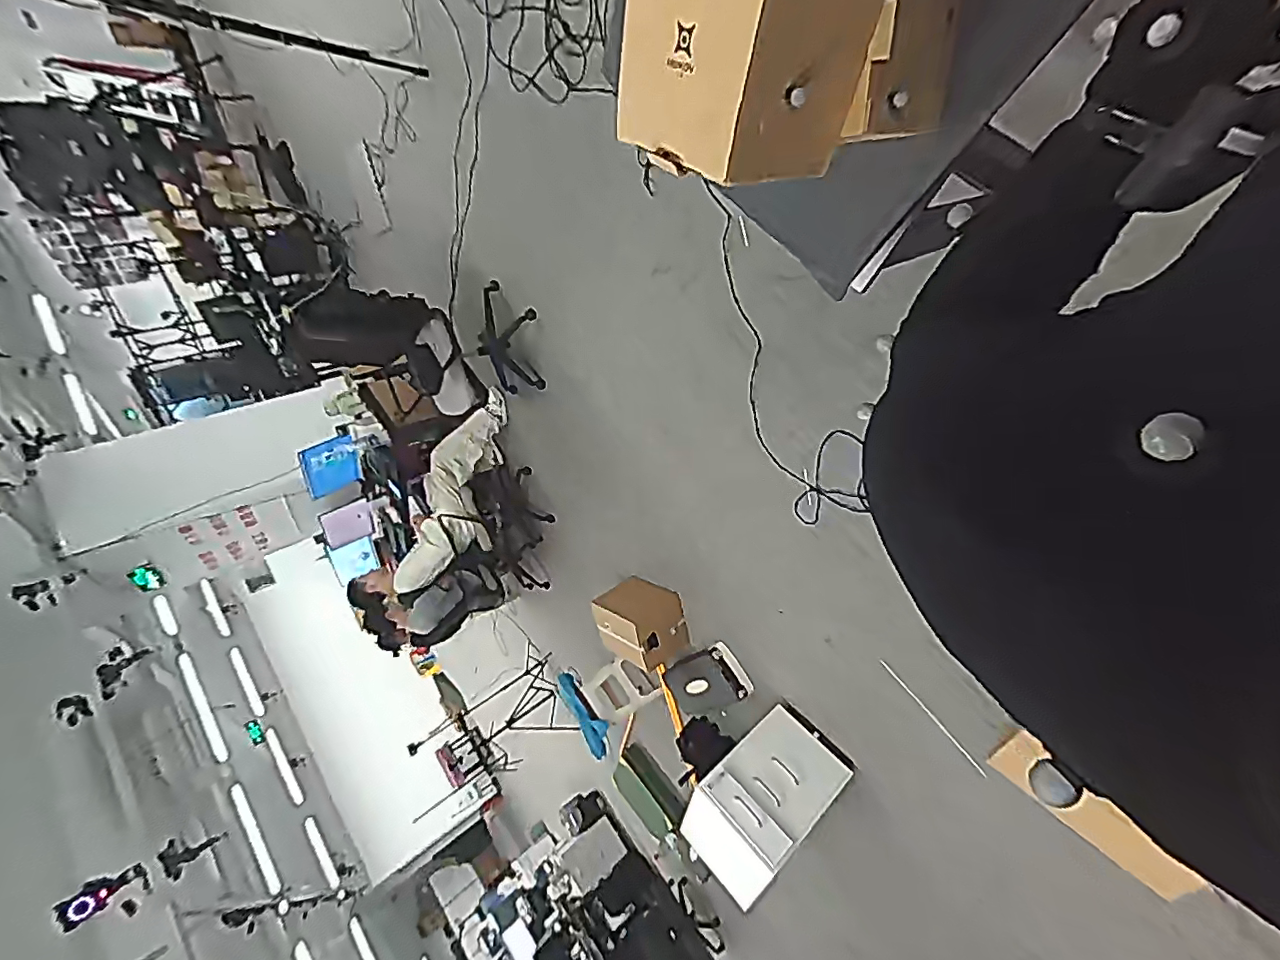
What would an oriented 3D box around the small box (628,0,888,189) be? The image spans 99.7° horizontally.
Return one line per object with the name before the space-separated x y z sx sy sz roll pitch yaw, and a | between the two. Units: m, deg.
small box | 0.109 -0.411 0.529 0.168 0.176 0.179 42 142 30
